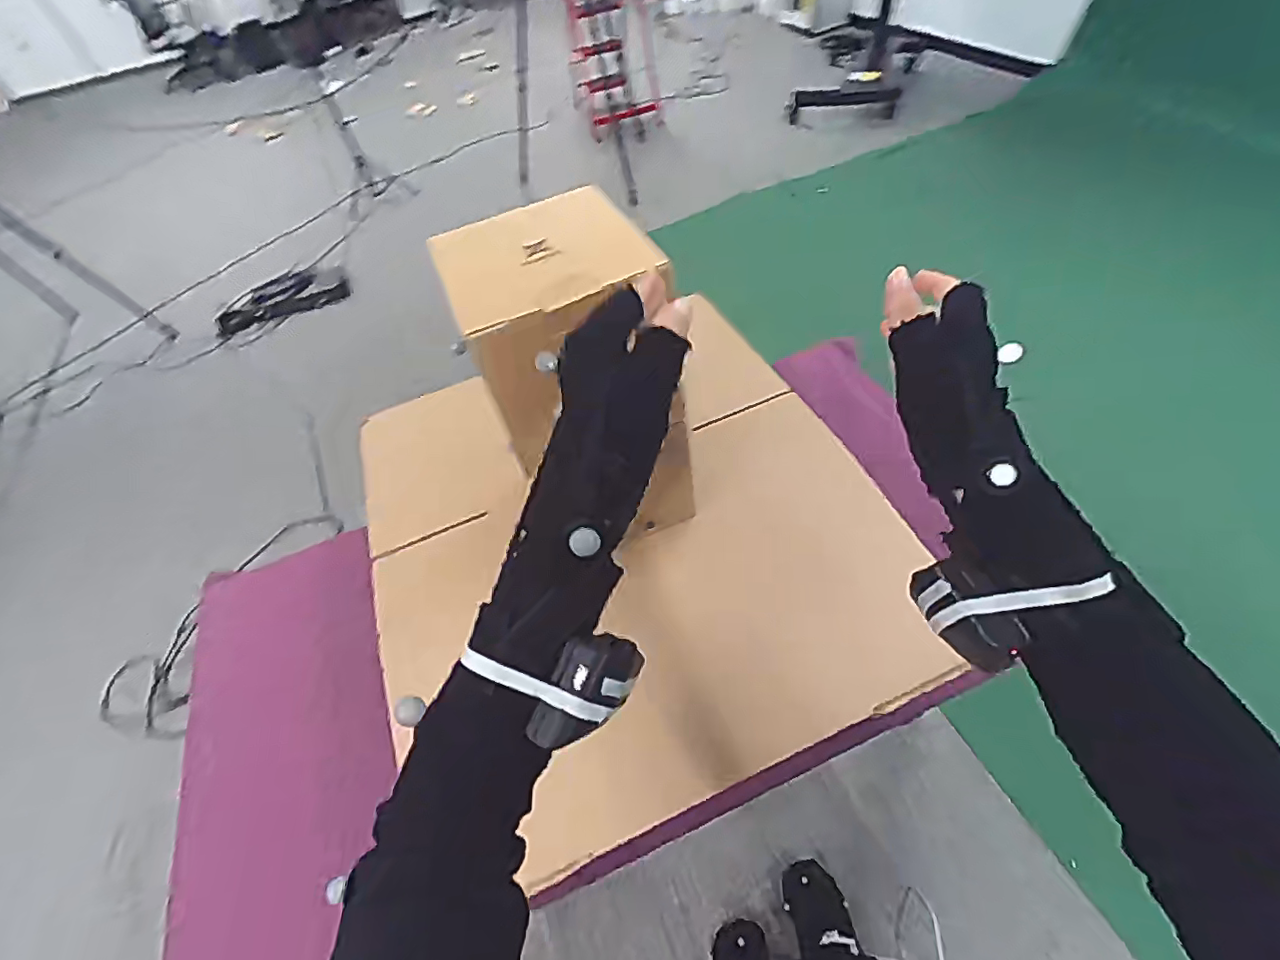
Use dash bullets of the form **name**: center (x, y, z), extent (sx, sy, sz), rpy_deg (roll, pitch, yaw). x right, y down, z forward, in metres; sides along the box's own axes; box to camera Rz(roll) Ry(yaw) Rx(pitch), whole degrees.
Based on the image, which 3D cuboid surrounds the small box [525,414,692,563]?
- **small box**: center (-0.049, -0.035, 0.636), extent (0.168, 0.176, 0.179), rpy_deg (-22, 52, -8)

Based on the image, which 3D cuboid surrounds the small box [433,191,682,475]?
- **small box**: center (-0.071, -0.137, 0.510), extent (0.168, 0.176, 0.179), rpy_deg (-23, 52, -10)
